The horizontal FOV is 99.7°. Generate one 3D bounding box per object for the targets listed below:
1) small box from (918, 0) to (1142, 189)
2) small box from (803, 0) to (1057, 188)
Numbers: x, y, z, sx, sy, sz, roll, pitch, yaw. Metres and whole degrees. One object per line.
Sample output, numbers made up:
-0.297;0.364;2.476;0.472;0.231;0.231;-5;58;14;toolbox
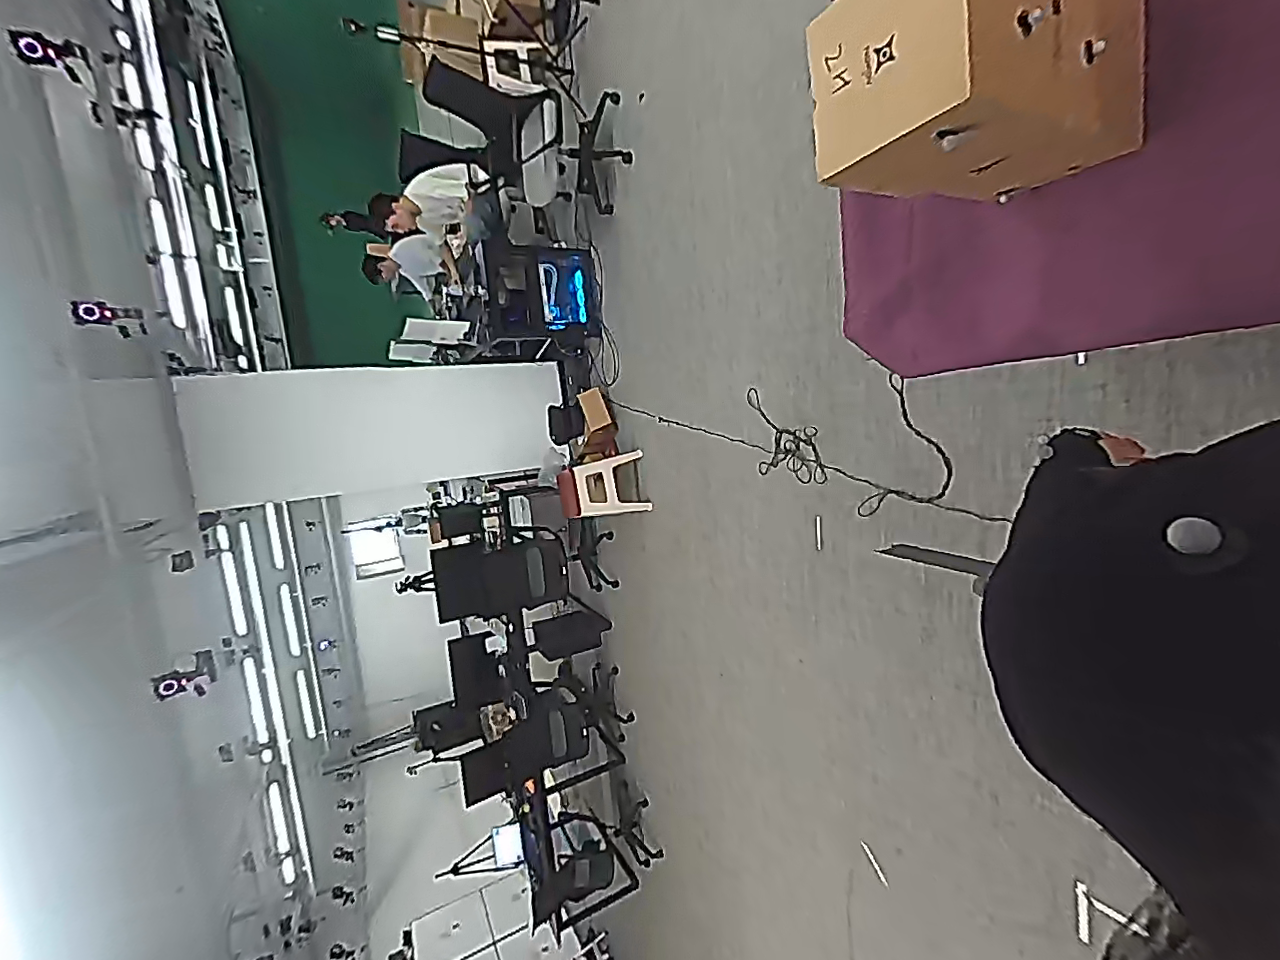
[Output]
0.443;-0.457;0.628;0.168;0.176;0.179;8;106;62;small box
0.298;-0.424;0.557;0.179;0.176;0.168;7;105;62;small box
